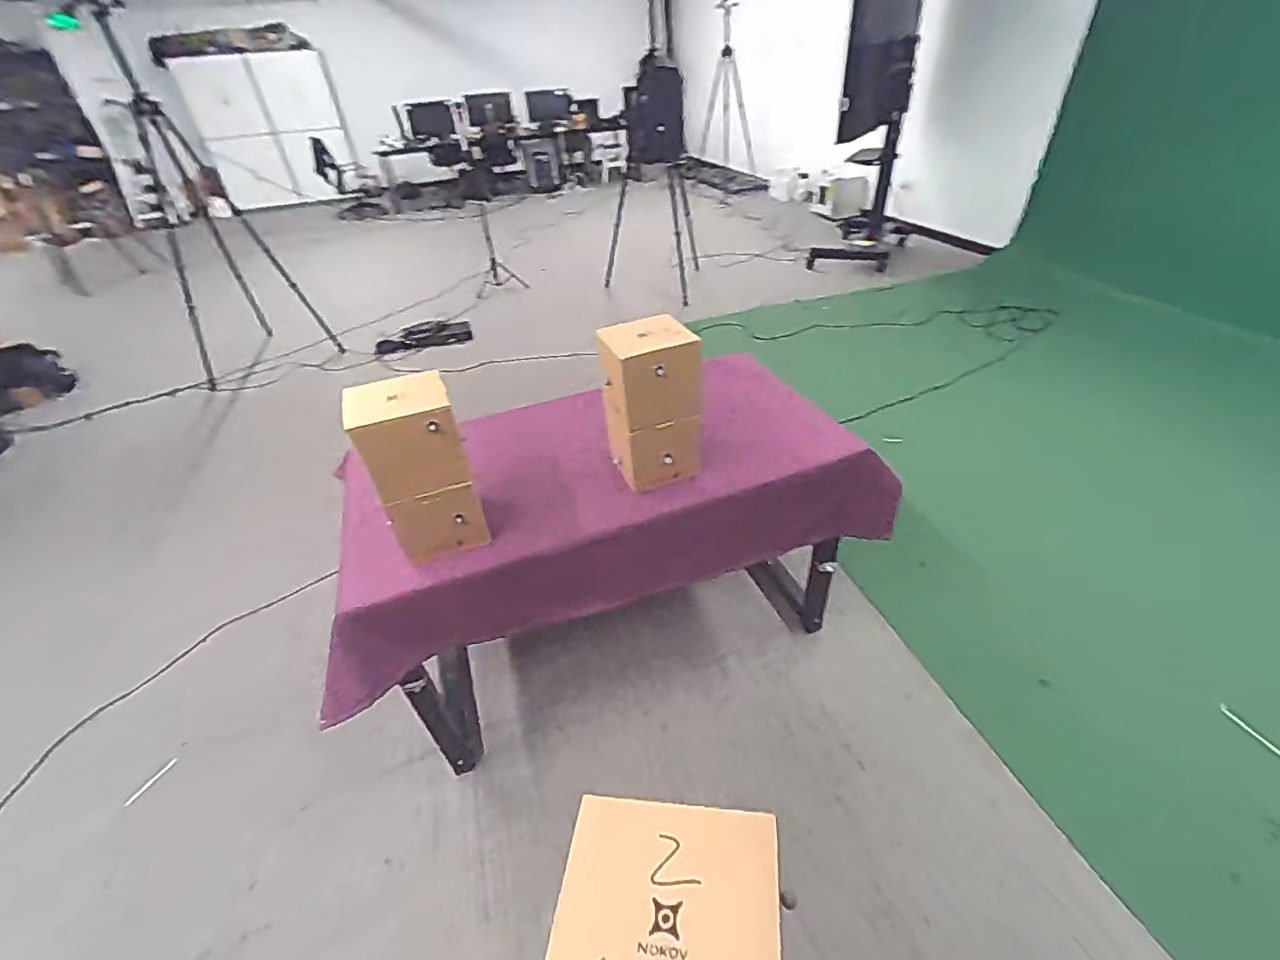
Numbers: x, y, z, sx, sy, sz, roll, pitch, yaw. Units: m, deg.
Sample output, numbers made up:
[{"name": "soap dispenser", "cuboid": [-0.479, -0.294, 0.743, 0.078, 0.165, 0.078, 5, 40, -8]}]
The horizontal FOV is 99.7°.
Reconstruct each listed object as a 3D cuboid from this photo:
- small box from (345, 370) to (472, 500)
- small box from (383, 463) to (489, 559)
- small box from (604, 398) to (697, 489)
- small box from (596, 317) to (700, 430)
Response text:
[{"name": "small box", "cuboid": [-0.436, -0.085, 1.024, 0.179, 0.176, 0.168, -17, 40, -18]}, {"name": "small box", "cuboid": [-0.423, 0.043, 1.125, 0.168, 0.176, 0.179, -16, 39, -16]}, {"name": "small box", "cuboid": [0.027, -0.097, 1.260, 0.168, 0.176, 0.179, -15, 40, -14]}, {"name": "small box", "cuboid": [0.020, -0.226, 1.157, 0.179, 0.176, 0.168, -16, 40, -15]}]
